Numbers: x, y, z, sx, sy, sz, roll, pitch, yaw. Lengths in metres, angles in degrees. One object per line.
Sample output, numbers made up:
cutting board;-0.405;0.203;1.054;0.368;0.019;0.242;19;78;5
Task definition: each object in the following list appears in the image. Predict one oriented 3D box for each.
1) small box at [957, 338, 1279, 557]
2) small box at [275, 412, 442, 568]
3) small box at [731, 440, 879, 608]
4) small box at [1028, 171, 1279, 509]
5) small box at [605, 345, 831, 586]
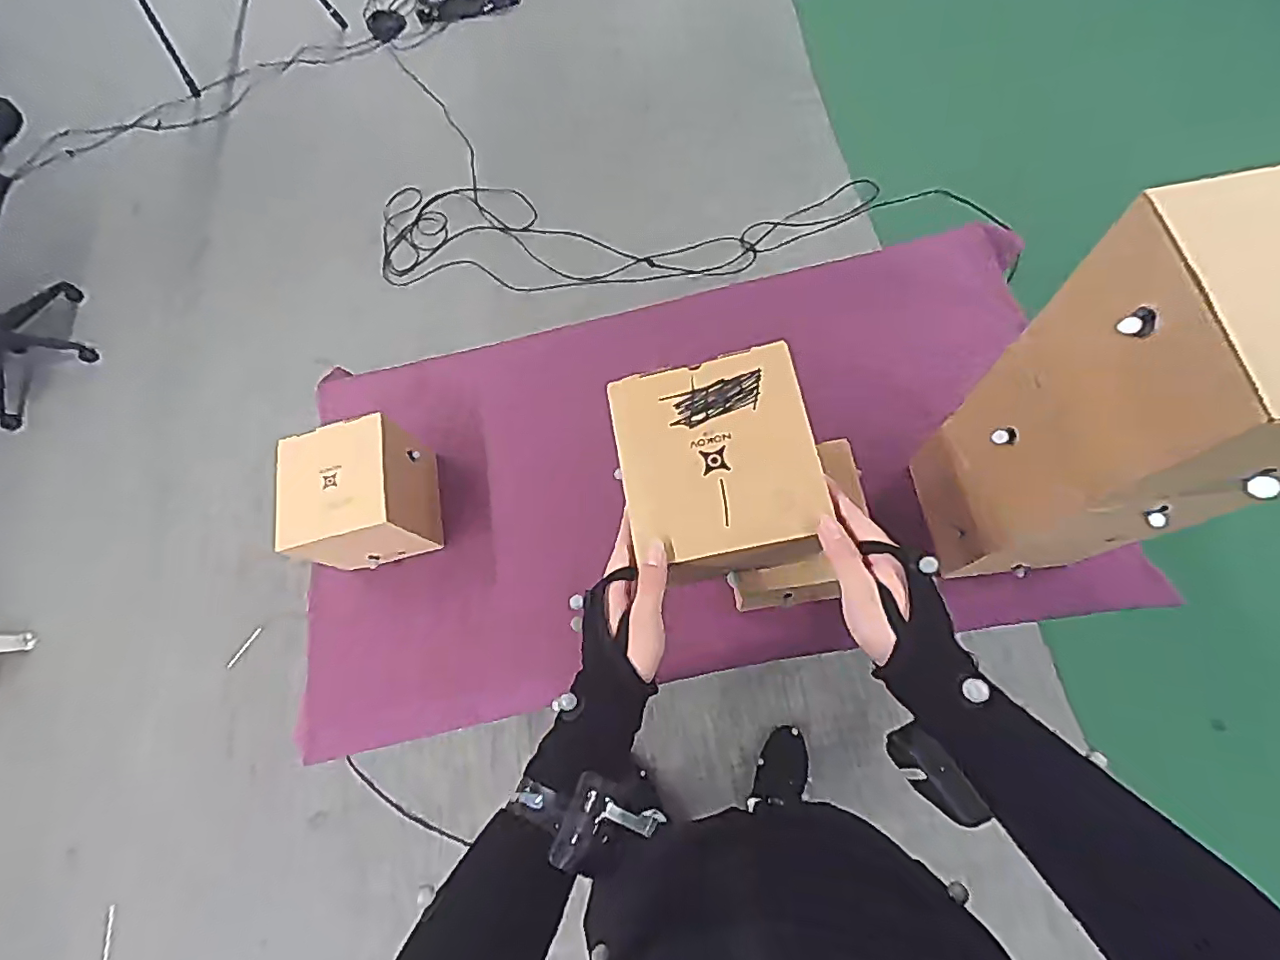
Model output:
small box;0.452;-0.033;0.544;0.168;0.176;0.179;-8;68;7
small box;-0.426;0.023;0.840;0.168;0.176;0.179;-14;69;4
small box;0.198;0.071;0.726;0.168;0.176;0.179;-10;67;6
small box;0.427;-0.092;0.392;0.168;0.176;0.179;-7;69;7
small box;0.073;-0.001;0.532;0.168;0.176;0.179;-12;73;8
